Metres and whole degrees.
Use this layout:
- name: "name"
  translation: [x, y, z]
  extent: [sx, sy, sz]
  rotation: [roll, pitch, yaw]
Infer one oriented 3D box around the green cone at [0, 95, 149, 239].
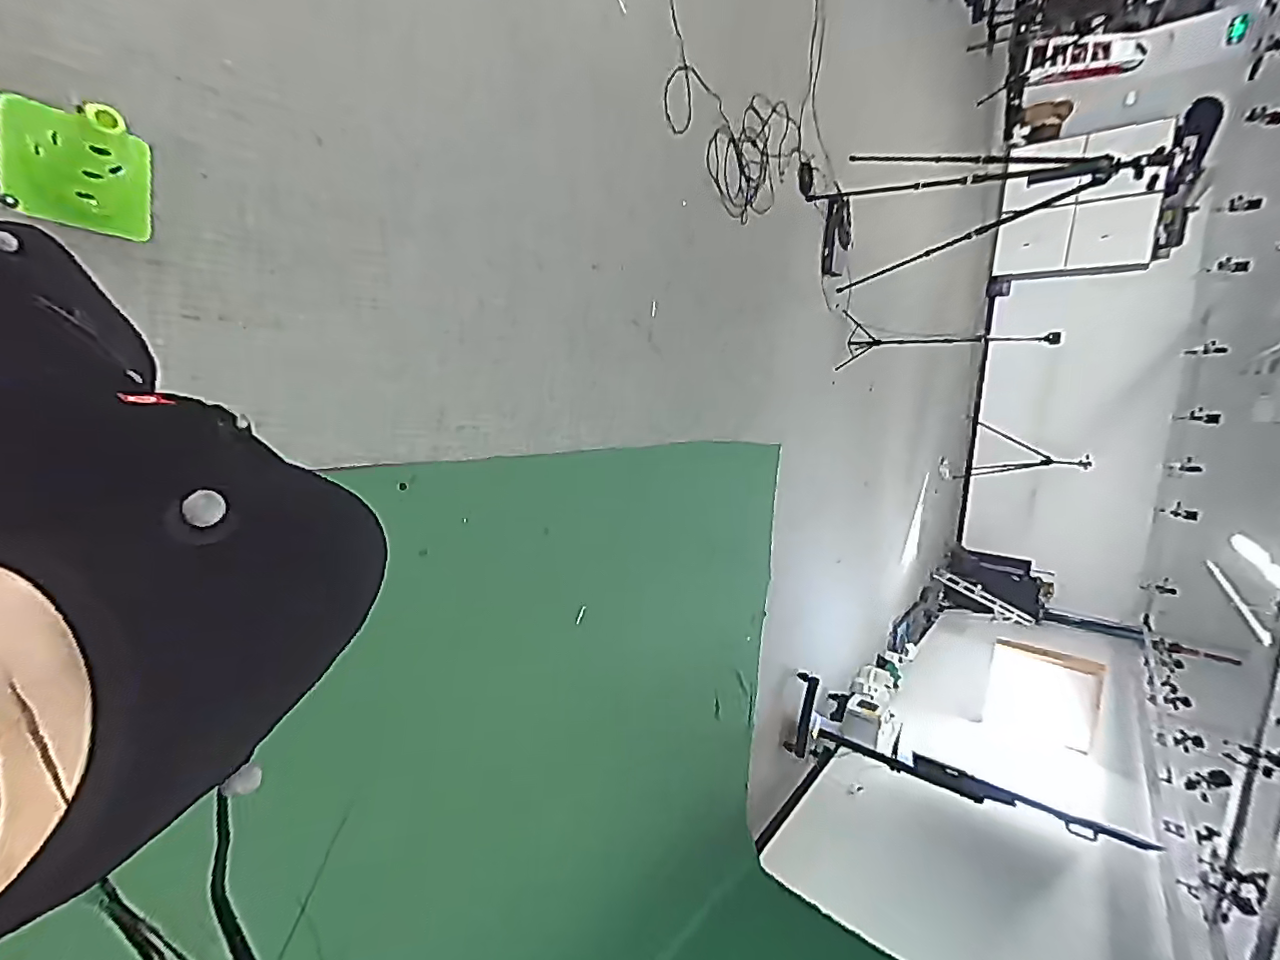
- name: "green cone"
  translation: [-0.924, -0.559, 0.908]
  extent: [0.200, 0.368, 0.202]
  rotation: [-4, 99, -51]
